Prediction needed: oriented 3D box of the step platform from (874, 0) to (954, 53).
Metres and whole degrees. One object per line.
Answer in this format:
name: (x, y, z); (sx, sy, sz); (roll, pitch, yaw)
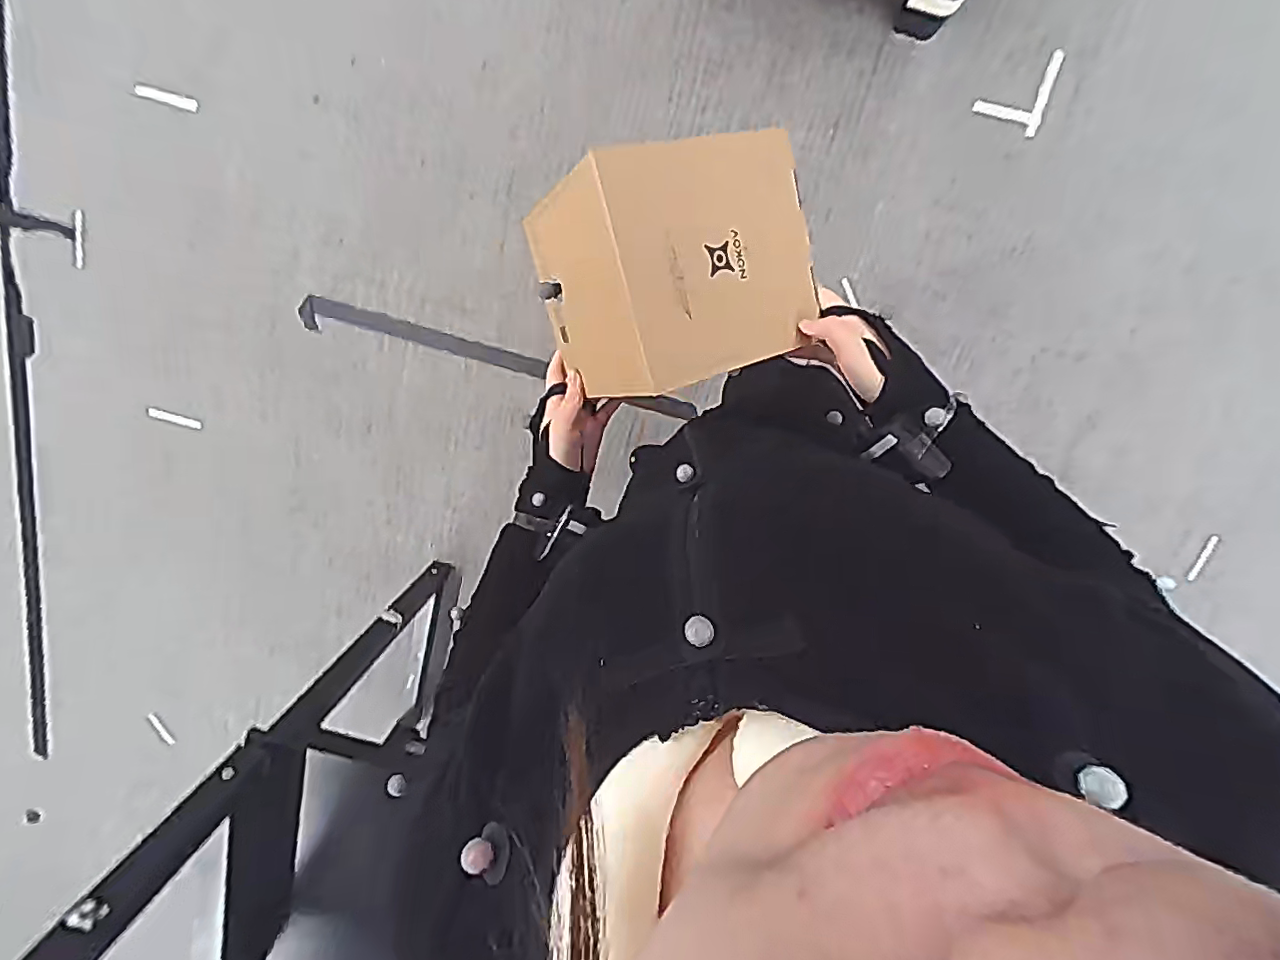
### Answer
step platform: (0.355, -1.167, 1.074); (0.684, 0.204, 0.286); (21, 105, -1)
